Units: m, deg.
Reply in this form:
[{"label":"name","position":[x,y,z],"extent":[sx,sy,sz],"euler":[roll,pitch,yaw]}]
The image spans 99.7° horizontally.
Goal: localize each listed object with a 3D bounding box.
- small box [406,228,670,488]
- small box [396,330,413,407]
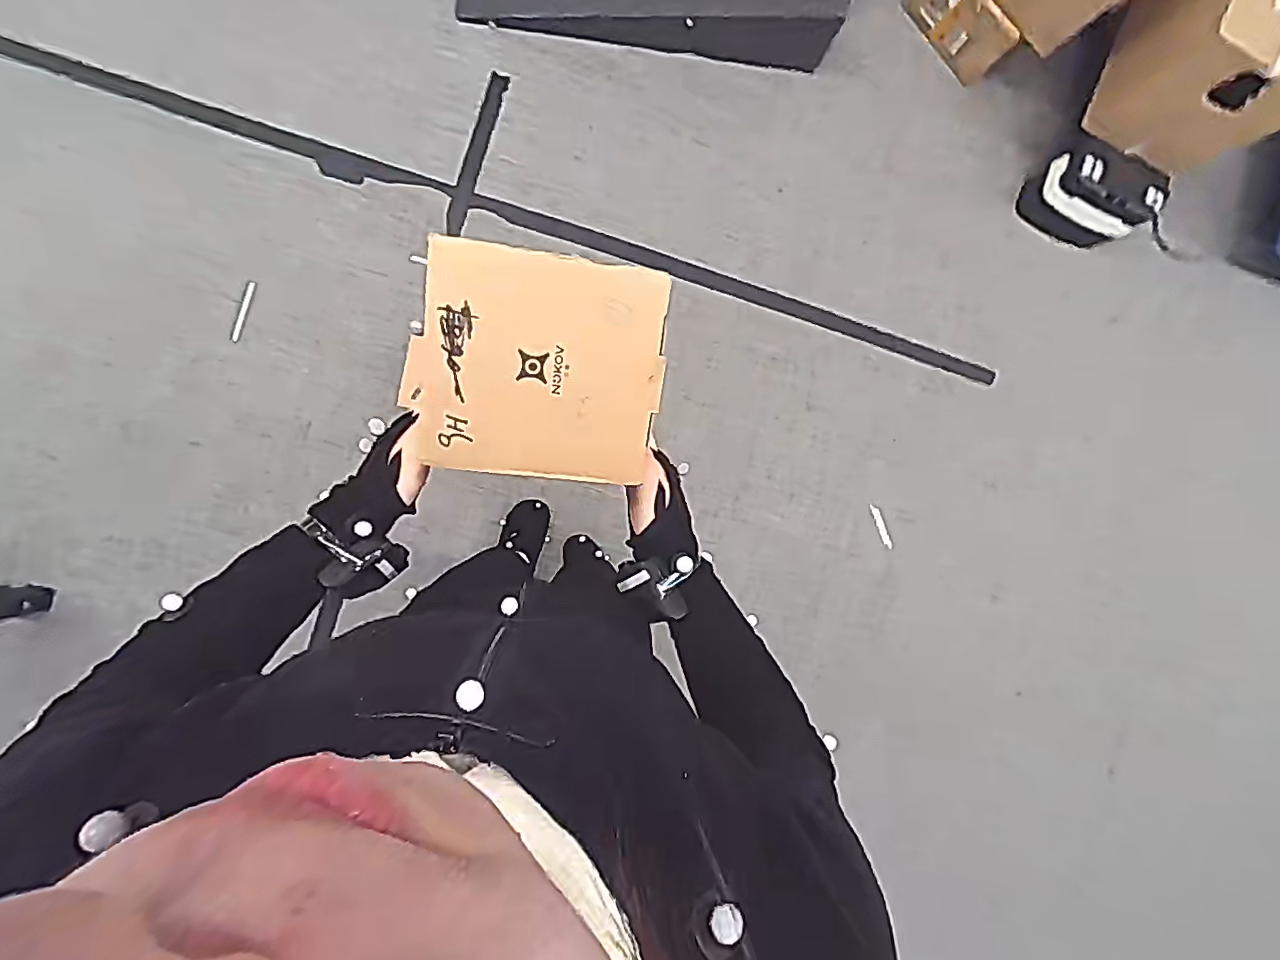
[{"label":"small box","position":[-0.087,-0.099,0.465],"extent":[0.179,0.176,0.168],"euler":[5,102,-12]},{"label":"small box","position":[-0.480,-0.248,1.337],"extent":[0.168,0.176,0.179],"euler":[12,90,-8]}]
